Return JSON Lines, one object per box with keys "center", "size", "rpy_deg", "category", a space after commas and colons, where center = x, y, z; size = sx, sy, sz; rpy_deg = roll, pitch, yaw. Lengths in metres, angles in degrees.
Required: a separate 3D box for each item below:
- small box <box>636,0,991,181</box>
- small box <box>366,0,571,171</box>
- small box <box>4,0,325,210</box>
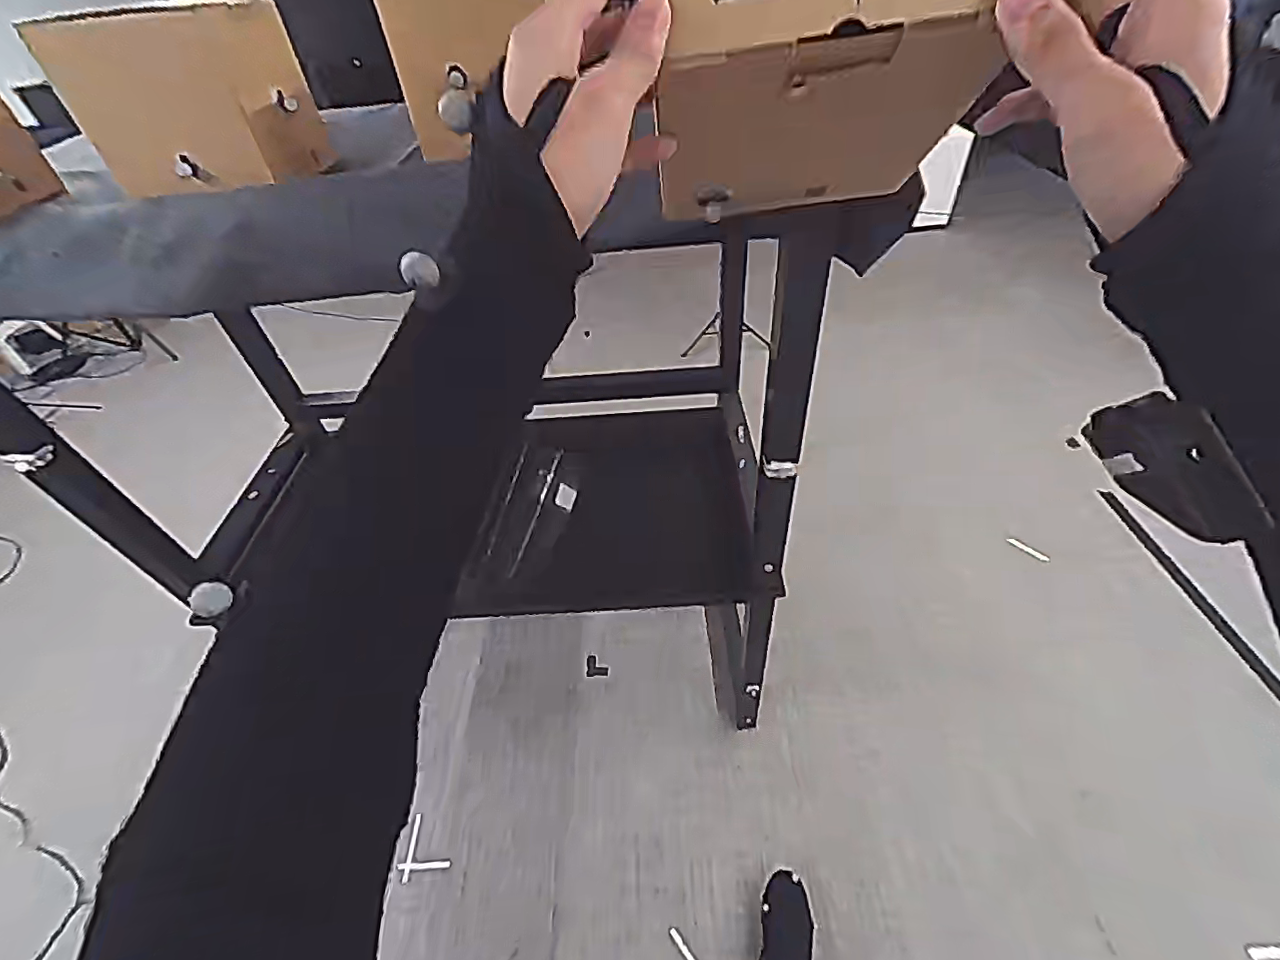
{"center": [0.079, -0.288, 0.293], "size": [0.168, 0.179, 0.176], "rpy_deg": [-6, 3, 4], "category": "small box"}
{"center": [-0.175, -0.466, 0.616], "size": [0.168, 0.176, 0.179], "rpy_deg": [-6, 43, 1], "category": "small box"}
{"center": [-0.496, -0.420, 0.606], "size": [0.179, 0.176, 0.168], "rpy_deg": [-4, 43, 1], "category": "small box"}
